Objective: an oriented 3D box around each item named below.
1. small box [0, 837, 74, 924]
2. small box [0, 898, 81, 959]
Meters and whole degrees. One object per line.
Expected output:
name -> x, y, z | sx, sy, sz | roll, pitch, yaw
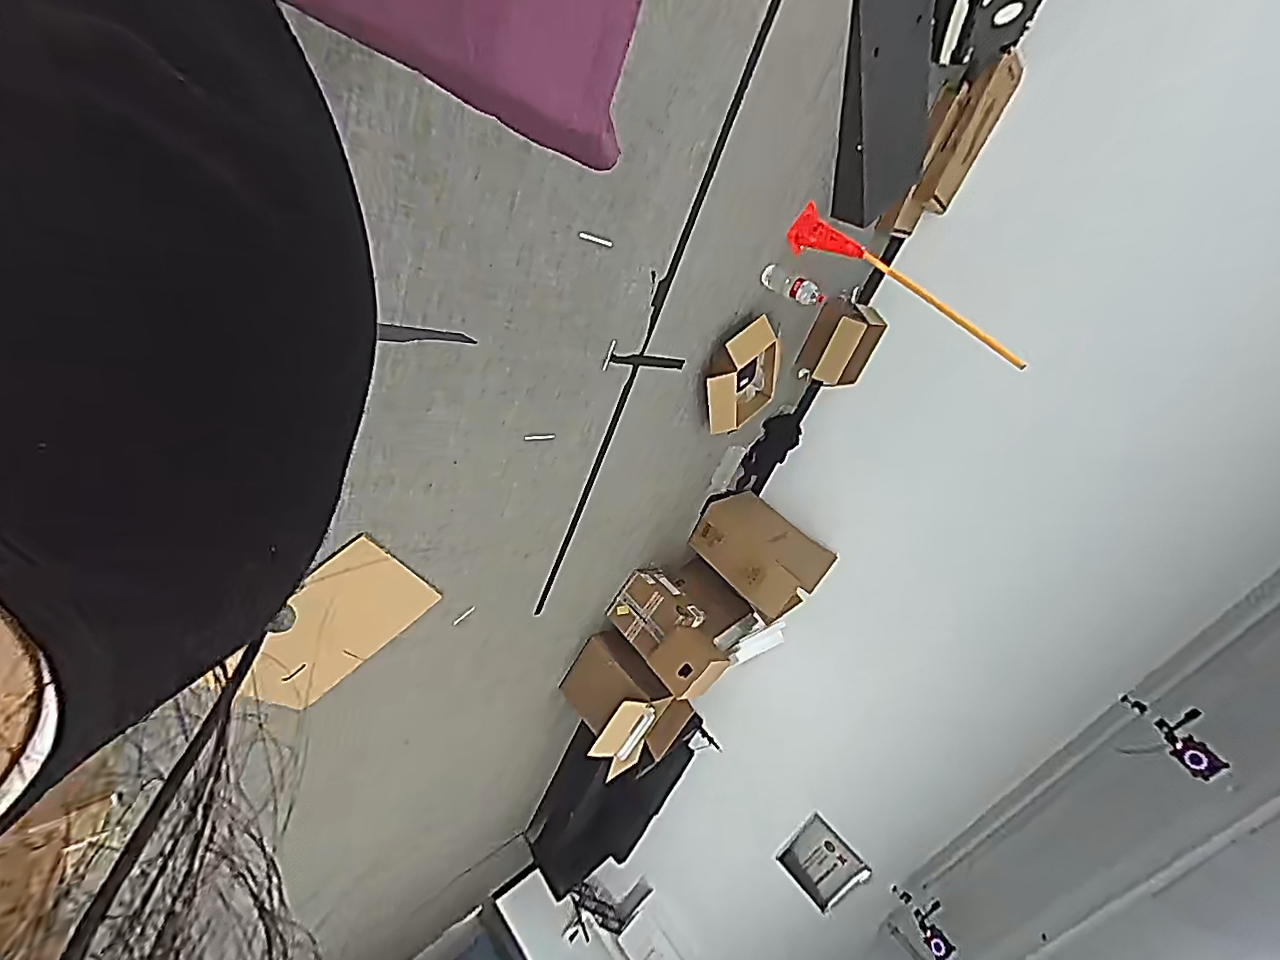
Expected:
small box -> -1.520, 1.019, 1.321 | 0.168, 0.176, 0.179 | -3, 127, -52
small box -> -1.415, 1.119, 1.244 | 0.168, 0.176, 0.179 | -6, 128, -50
